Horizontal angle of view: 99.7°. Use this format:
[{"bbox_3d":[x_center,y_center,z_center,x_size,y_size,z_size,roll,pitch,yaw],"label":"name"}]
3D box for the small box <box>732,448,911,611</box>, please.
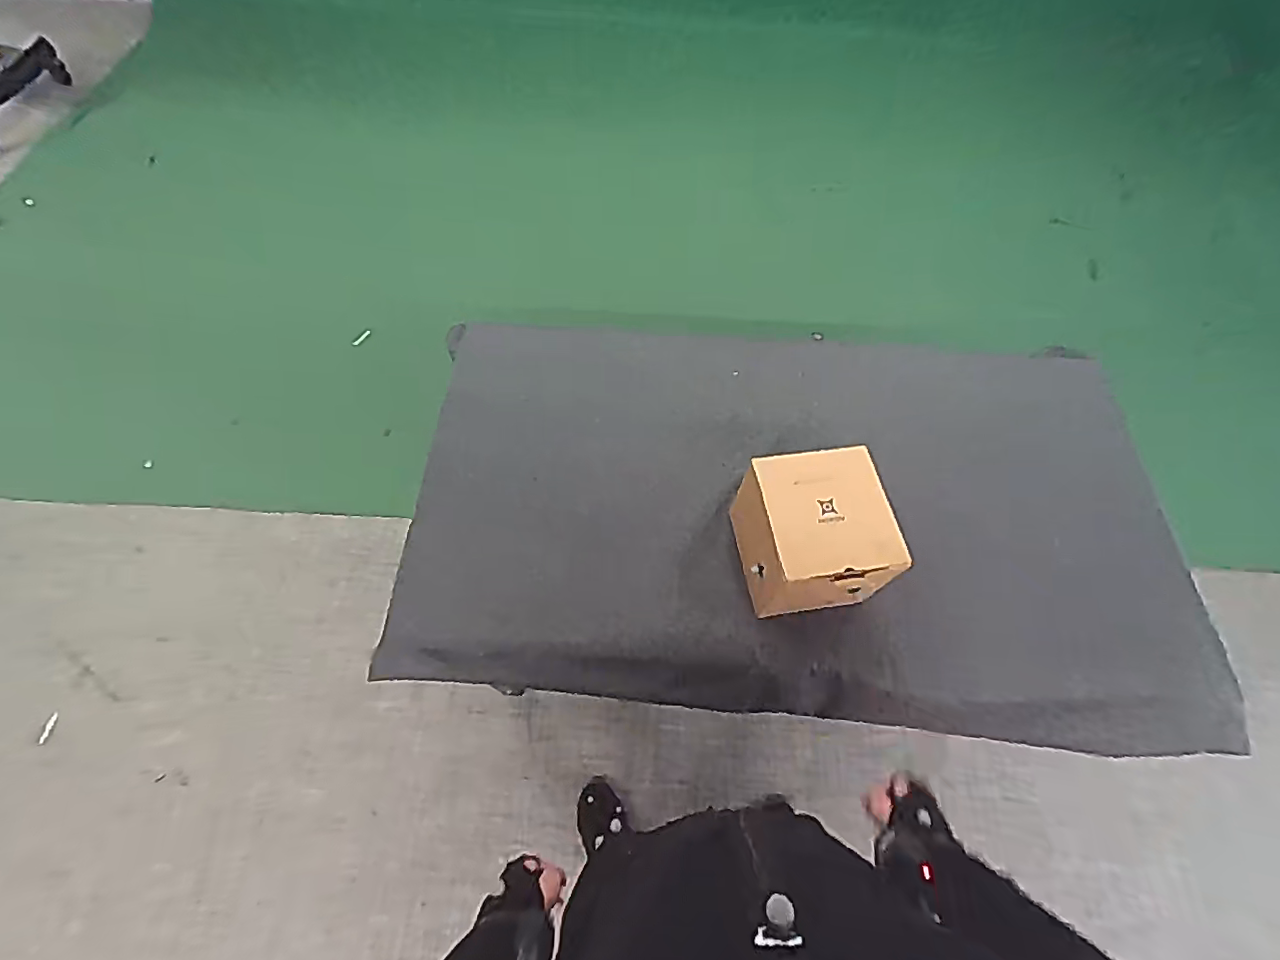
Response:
[{"bbox_3d":[0.242,0.078,0.770,0.168,0.176,0.179,-7,61,-7],"label":"small box"}]
